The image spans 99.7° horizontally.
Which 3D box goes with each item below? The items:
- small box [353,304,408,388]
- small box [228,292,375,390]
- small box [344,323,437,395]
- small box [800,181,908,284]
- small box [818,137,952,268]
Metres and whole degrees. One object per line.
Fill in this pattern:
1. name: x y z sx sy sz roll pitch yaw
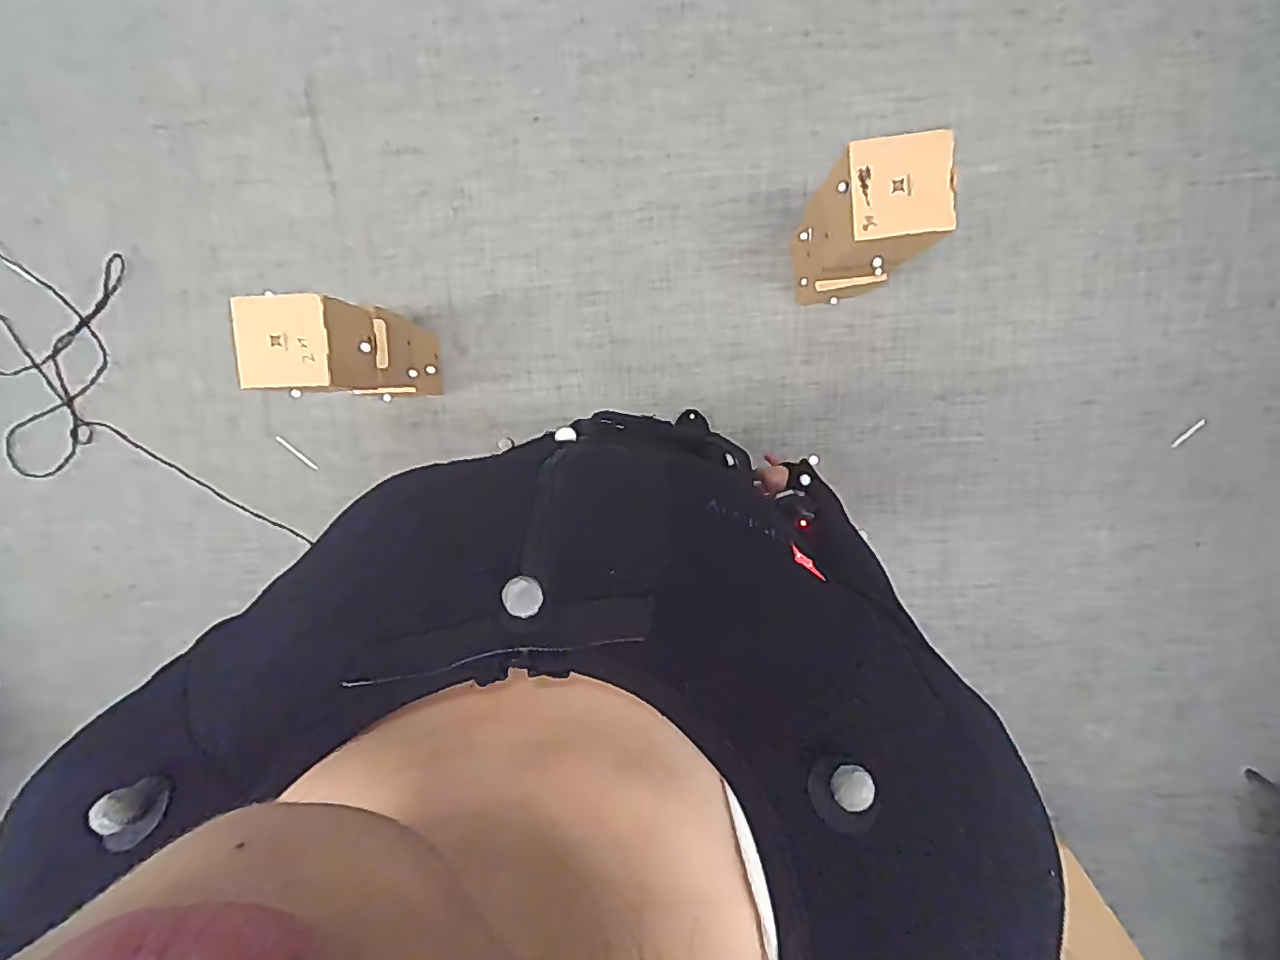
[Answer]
1. small box: -0.640 -0.297 1.217 0.179 0.176 0.168 -1 97 3
2. small box: -0.650 -0.263 1.056 0.179 0.176 0.168 -1 97 2
3. small box: -0.634 -0.305 1.382 0.179 0.176 0.168 -1 97 2
4. small box: 0.457 -0.533 1.169 0.179 0.176 0.168 -5 96 3
5. small box: 0.448 -0.506 1.007 0.179 0.176 0.168 -5 96 1
